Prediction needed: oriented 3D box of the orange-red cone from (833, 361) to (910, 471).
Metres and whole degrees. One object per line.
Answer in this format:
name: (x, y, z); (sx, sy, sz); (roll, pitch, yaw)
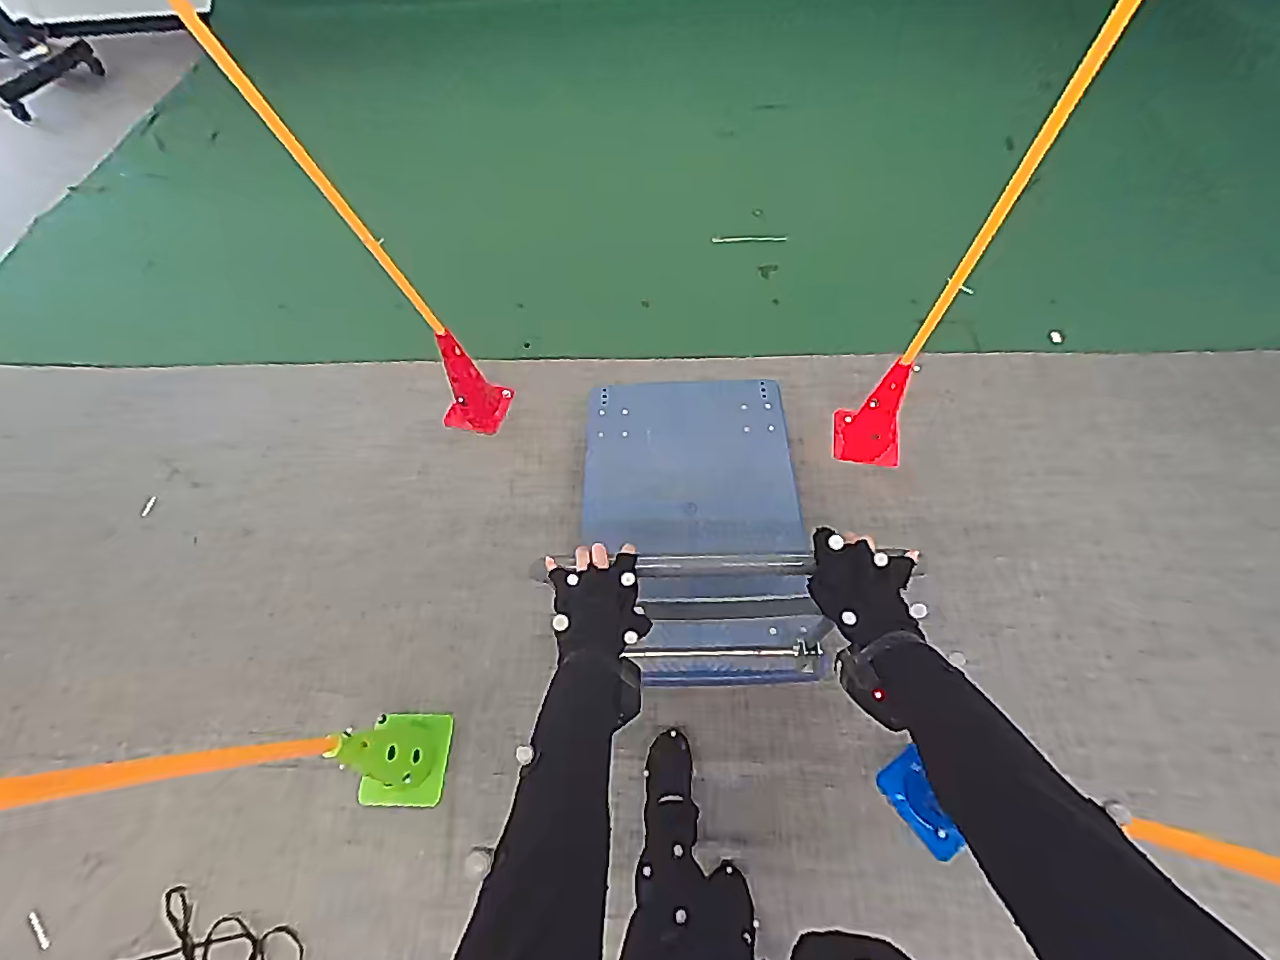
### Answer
orange-red cone: (0.710, -0.208, 1.577); (0.198, 0.360, 0.199); (9, 61, 10)
